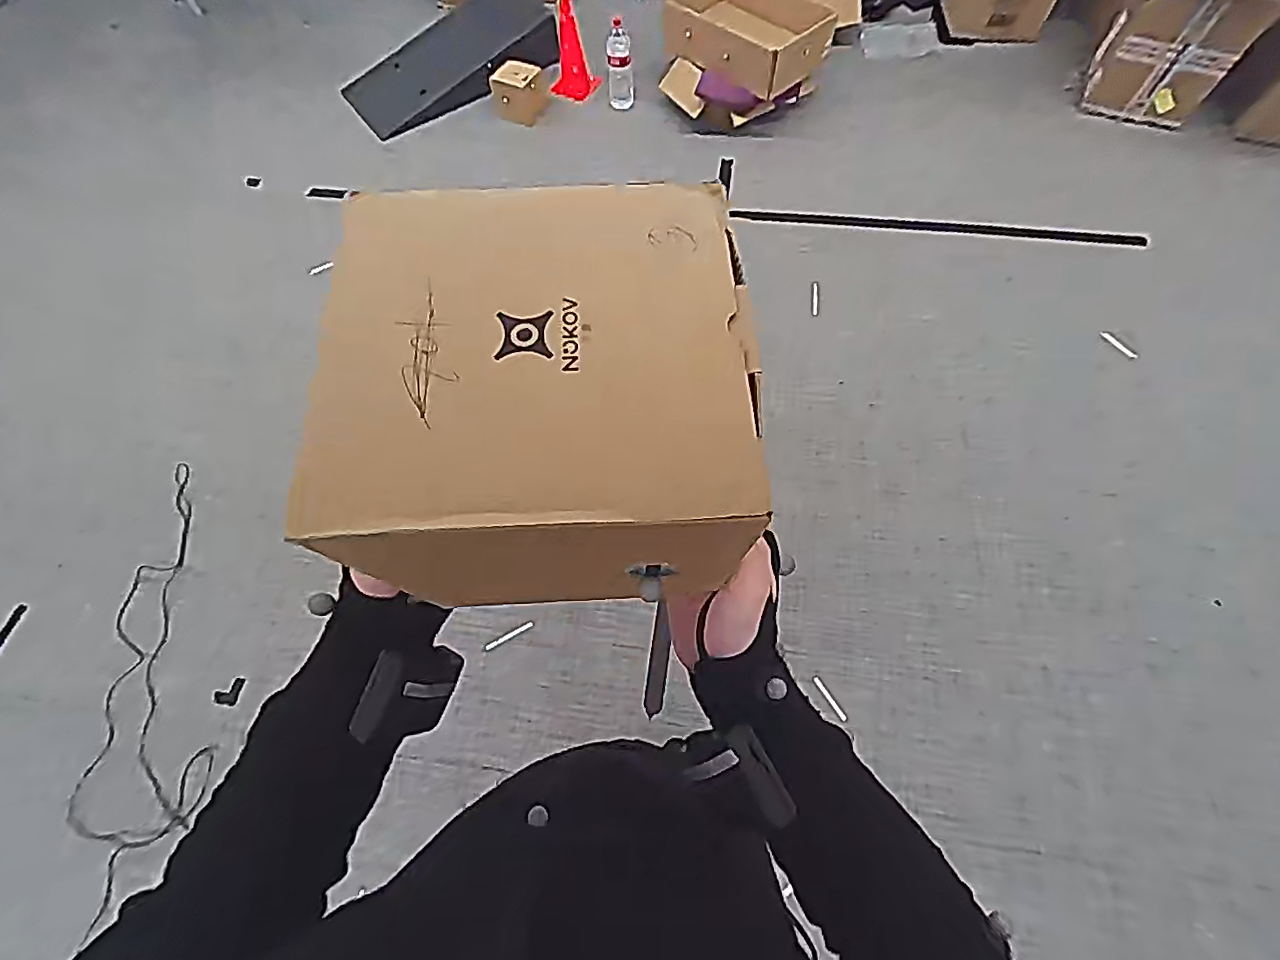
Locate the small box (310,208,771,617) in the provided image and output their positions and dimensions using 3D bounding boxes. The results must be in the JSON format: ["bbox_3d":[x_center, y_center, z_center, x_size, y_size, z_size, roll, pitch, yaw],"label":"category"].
[{"bbox_3d":[-0.041,-0.020,0.304,0.179,0.176,0.168,-4,68,-1],"label":"small box"}]
